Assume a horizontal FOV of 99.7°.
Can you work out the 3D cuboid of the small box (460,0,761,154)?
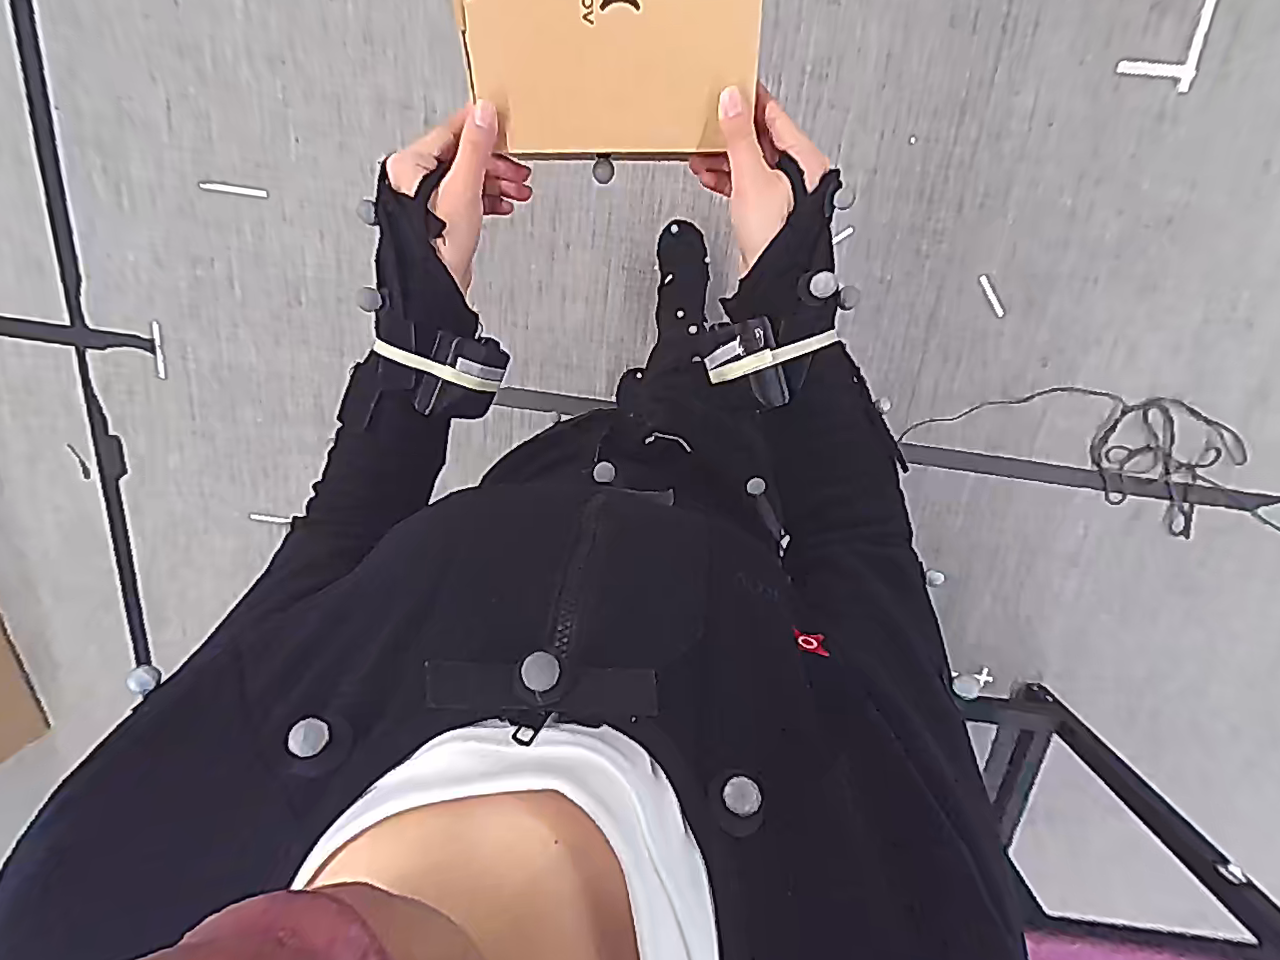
[{"bbox_3d":[-0.020,-0.325,0.372,0.179,0.176,0.168,-1,120,-2],"label":"small box"}]
